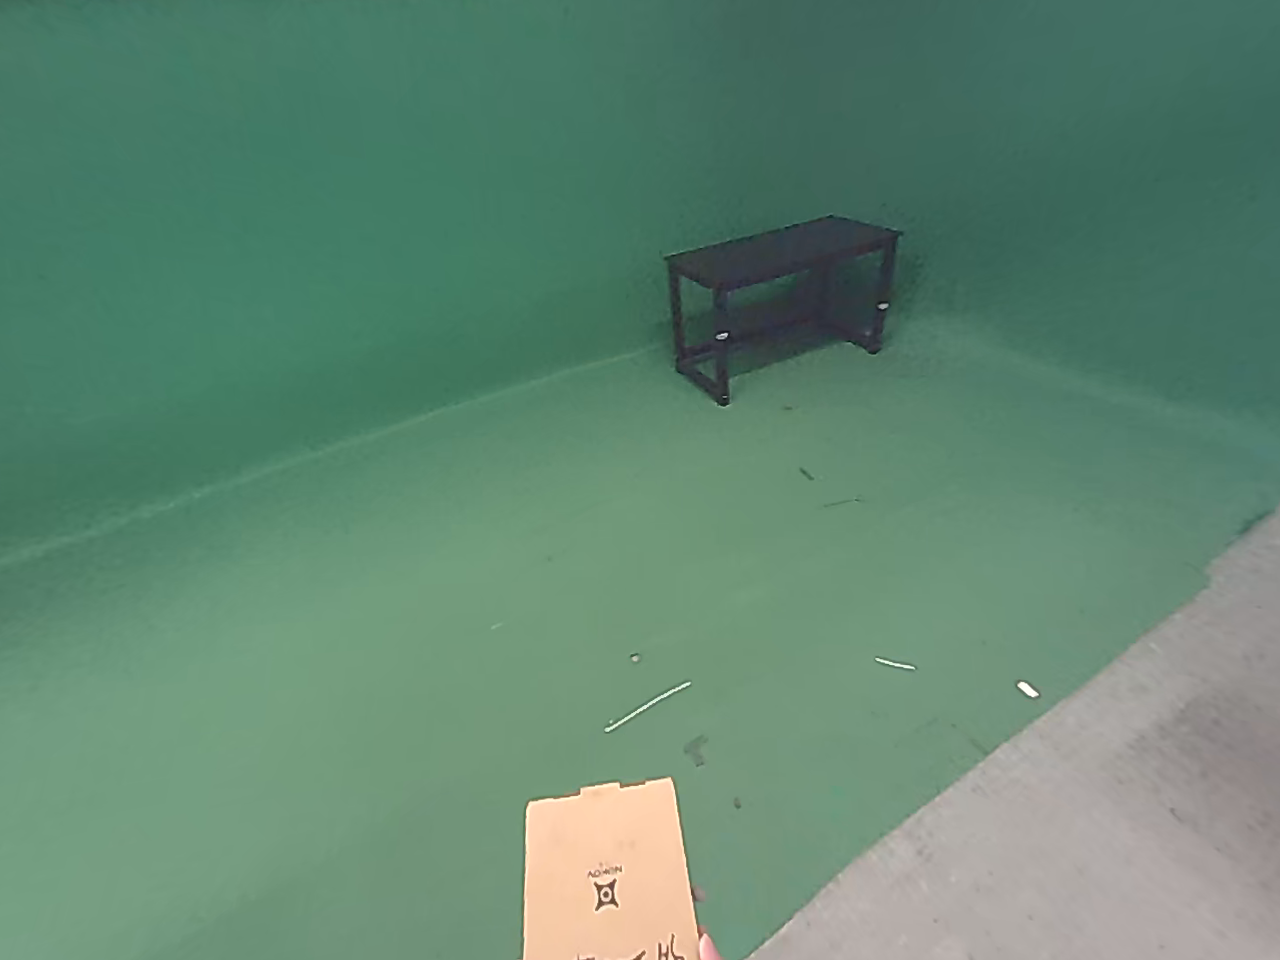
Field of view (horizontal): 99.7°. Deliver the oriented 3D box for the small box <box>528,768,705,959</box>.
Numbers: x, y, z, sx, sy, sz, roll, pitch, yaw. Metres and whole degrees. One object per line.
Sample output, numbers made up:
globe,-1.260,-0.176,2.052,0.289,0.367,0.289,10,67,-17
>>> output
small box,-0.022,0.456,0.607,0.168,0.176,0.179,-9,43,0
